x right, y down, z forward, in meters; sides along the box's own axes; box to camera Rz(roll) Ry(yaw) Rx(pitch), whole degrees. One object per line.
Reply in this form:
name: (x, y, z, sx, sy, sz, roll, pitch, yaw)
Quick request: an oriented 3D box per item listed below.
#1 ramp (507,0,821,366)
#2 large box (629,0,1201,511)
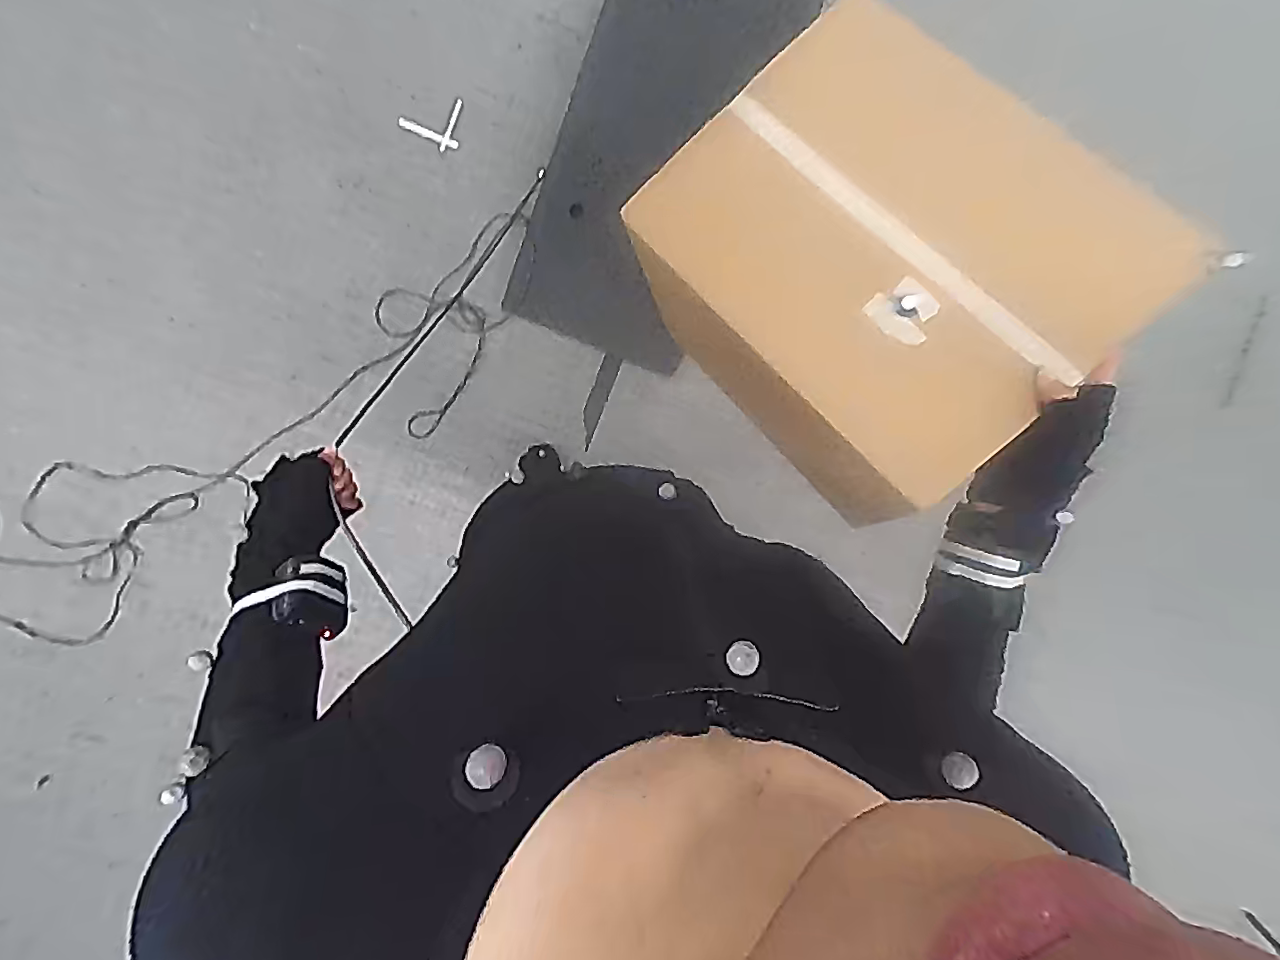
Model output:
ramp: (0.055, -0.840, 1.361, 0.509, 0.206, 0.991, 19, 91, -10)
large box: (0.253, -0.215, 0.643, 0.320, 0.320, 0.408, -42, 77, 5)
